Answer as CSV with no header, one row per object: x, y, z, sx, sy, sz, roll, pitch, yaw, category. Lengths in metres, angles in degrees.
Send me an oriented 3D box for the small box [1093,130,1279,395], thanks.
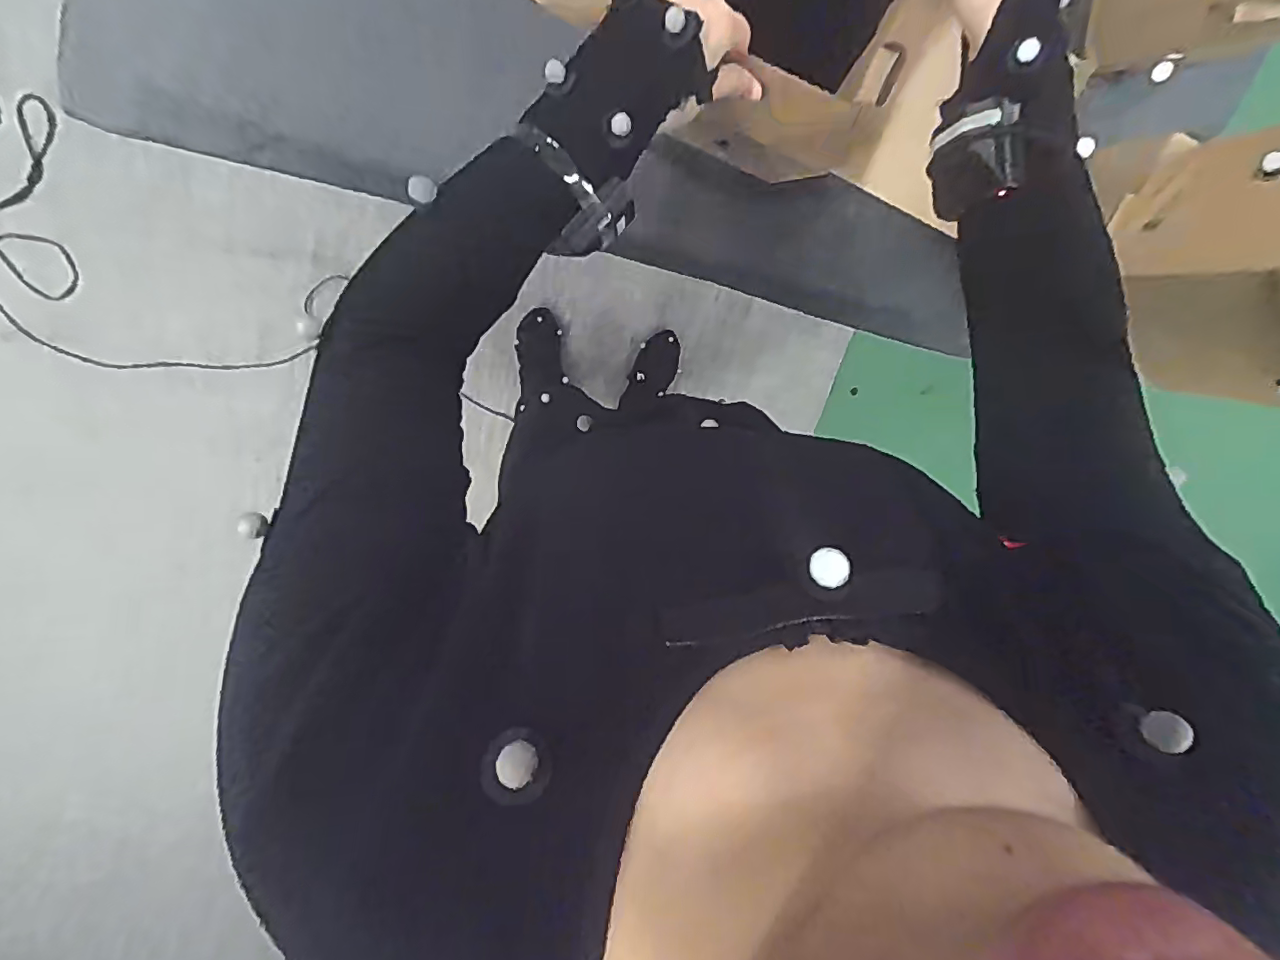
0.561,-0.186,0.472,0.179,0.176,0.168,38,100,-19,small box

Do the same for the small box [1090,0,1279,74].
0.587,-0.525,0.517,0.168,0.176,0.179,-7,114,-2,small box

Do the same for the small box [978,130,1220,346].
0.542,-0.256,0.619,0.179,0.176,0.168,17,106,-13,small box
